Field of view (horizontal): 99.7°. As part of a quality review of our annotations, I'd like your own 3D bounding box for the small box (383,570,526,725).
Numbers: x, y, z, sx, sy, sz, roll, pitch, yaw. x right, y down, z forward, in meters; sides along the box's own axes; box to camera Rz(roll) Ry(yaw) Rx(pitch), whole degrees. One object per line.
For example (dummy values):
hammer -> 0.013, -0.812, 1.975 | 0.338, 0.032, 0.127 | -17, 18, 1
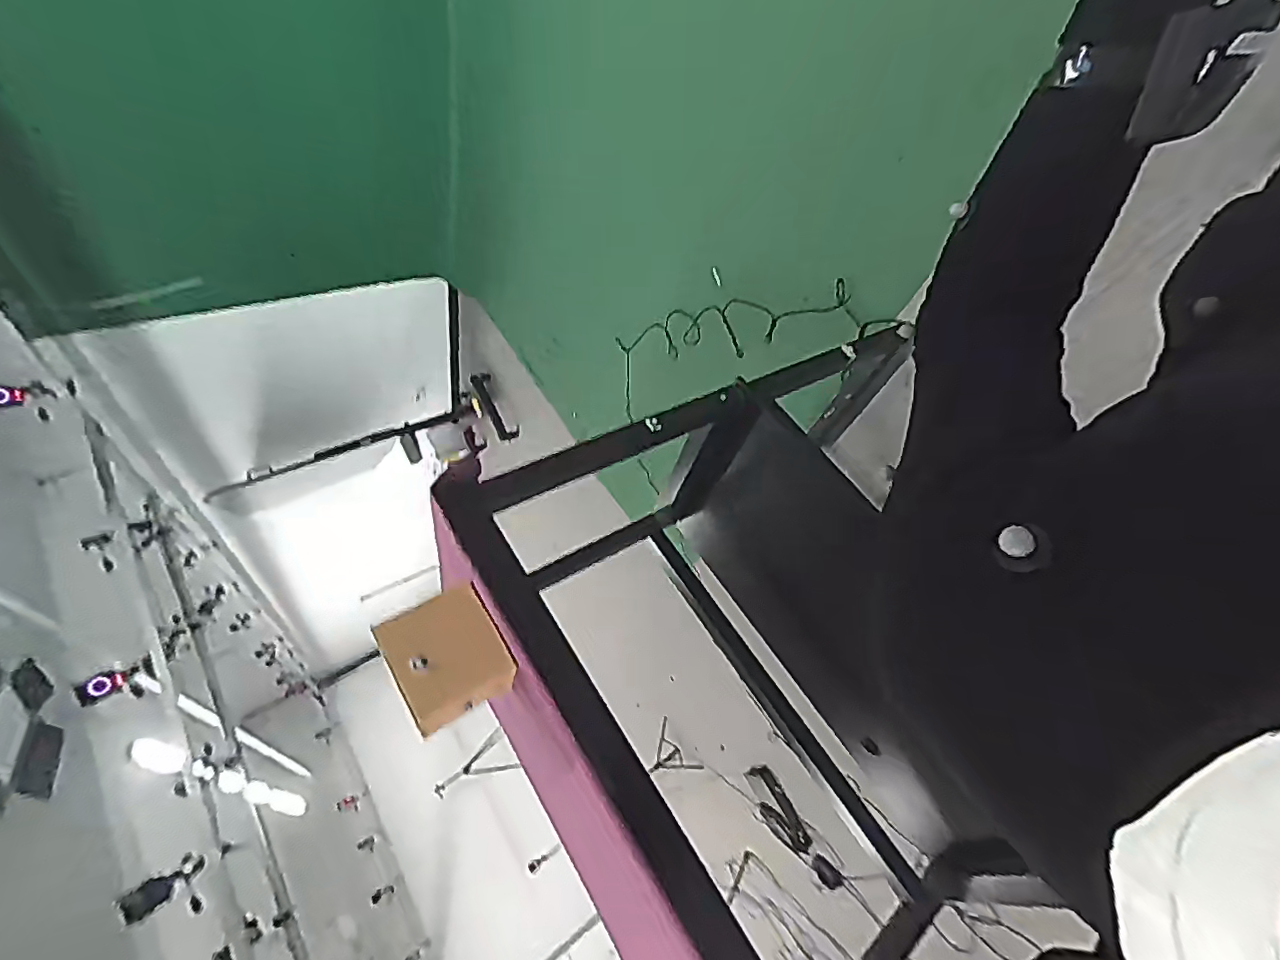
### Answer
small box -> -0.311, 0.285, 0.926 | 0.179, 0.176, 0.168 | 54, 149, 18
